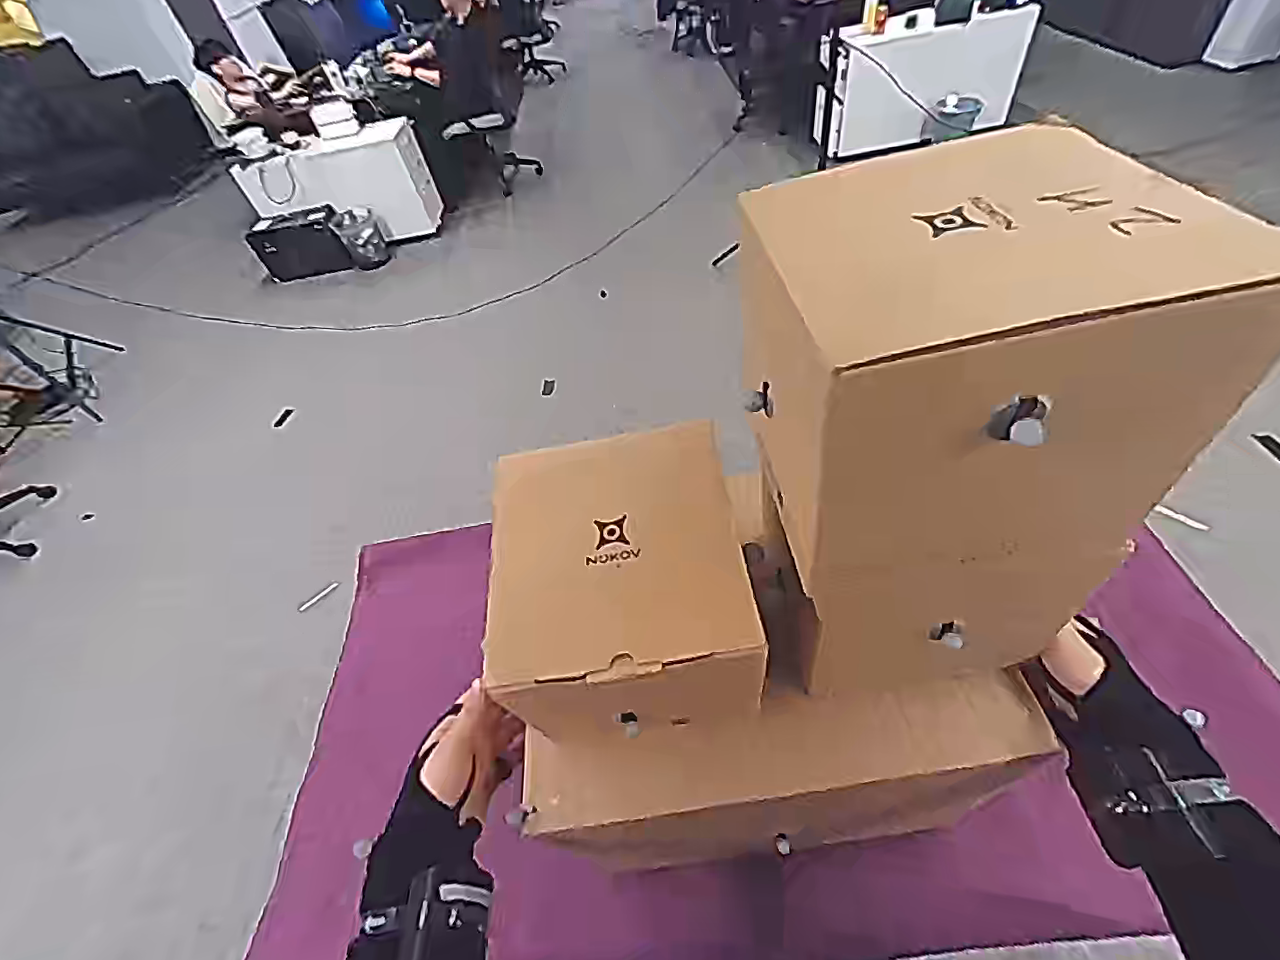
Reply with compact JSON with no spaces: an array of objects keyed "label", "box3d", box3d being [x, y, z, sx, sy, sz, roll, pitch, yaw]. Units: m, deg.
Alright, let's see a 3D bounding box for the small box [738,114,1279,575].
[{"label":"small box","box3d":[0.158,-0.065,0.296,0.179,0.176,0.168,-9,48,5]}]
